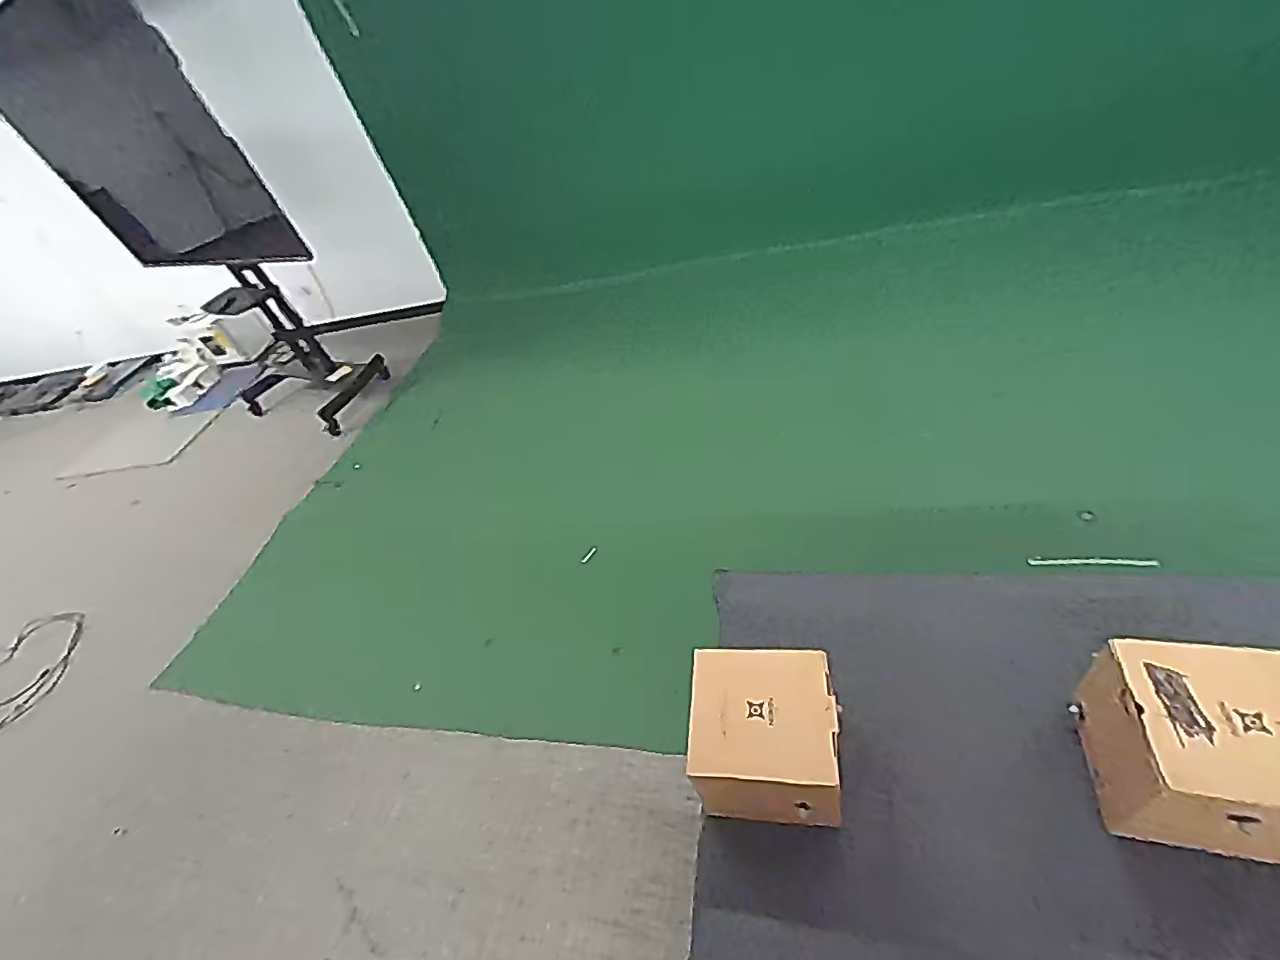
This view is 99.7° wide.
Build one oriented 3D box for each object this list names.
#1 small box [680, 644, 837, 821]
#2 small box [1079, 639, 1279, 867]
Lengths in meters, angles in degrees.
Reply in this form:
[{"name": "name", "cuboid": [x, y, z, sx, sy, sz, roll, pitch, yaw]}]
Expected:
[{"name": "small box", "cuboid": [0.160, 0.333, 0.714, 0.179, 0.176, 0.168, -6, 44, 16]}, {"name": "small box", "cuboid": [0.621, 0.300, 0.598, 0.179, 0.176, 0.168, 3, 49, 22]}]
